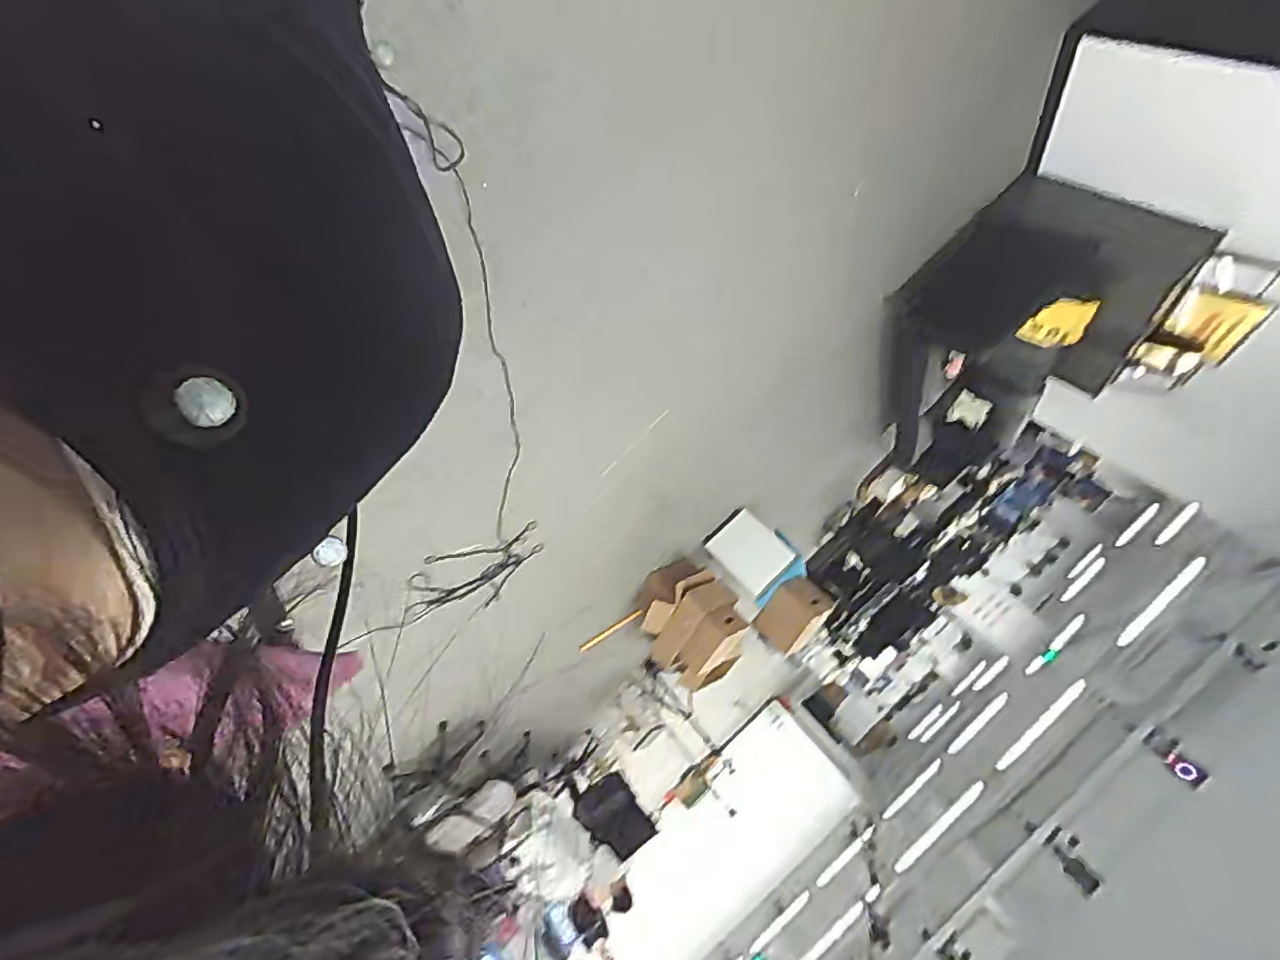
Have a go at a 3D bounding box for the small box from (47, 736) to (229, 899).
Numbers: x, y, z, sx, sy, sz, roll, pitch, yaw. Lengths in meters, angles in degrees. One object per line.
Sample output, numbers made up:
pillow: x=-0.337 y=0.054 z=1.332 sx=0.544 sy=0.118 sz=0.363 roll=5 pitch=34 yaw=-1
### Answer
small box: x=-0.892 y=0.582 z=0.964 sx=0.168 sy=0.176 sz=0.179 roll=-47 pitch=149 yaw=1
